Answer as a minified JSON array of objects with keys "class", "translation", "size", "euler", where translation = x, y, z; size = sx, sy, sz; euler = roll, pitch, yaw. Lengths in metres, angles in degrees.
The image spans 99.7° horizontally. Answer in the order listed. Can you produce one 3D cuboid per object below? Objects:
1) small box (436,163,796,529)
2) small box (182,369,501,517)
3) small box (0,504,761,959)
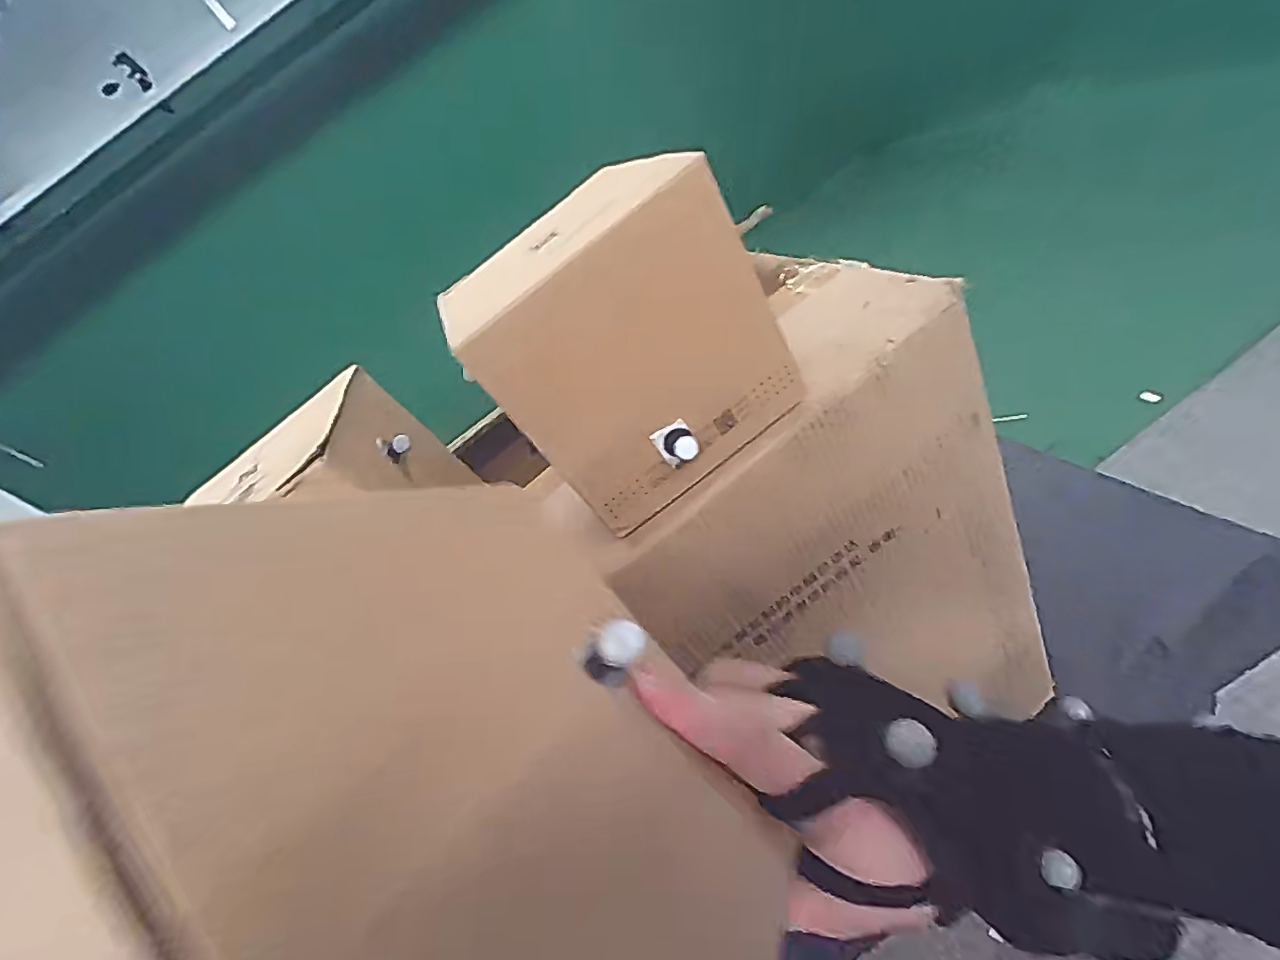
[{"class":"small box","translation":[-0.022,-0.096,0.392],"size":[0.168,0.176,0.179],"euler":[-40,35,0]},{"class":"small box","translation":[-0.209,0.055,0.389],"size":[0.168,0.176,0.179],"euler":[-38,33,2]},{"class":"small box","translation":[-0.088,0.121,0.168],"size":[0.168,0.179,0.176],"euler":[-48,-13,17]}]
